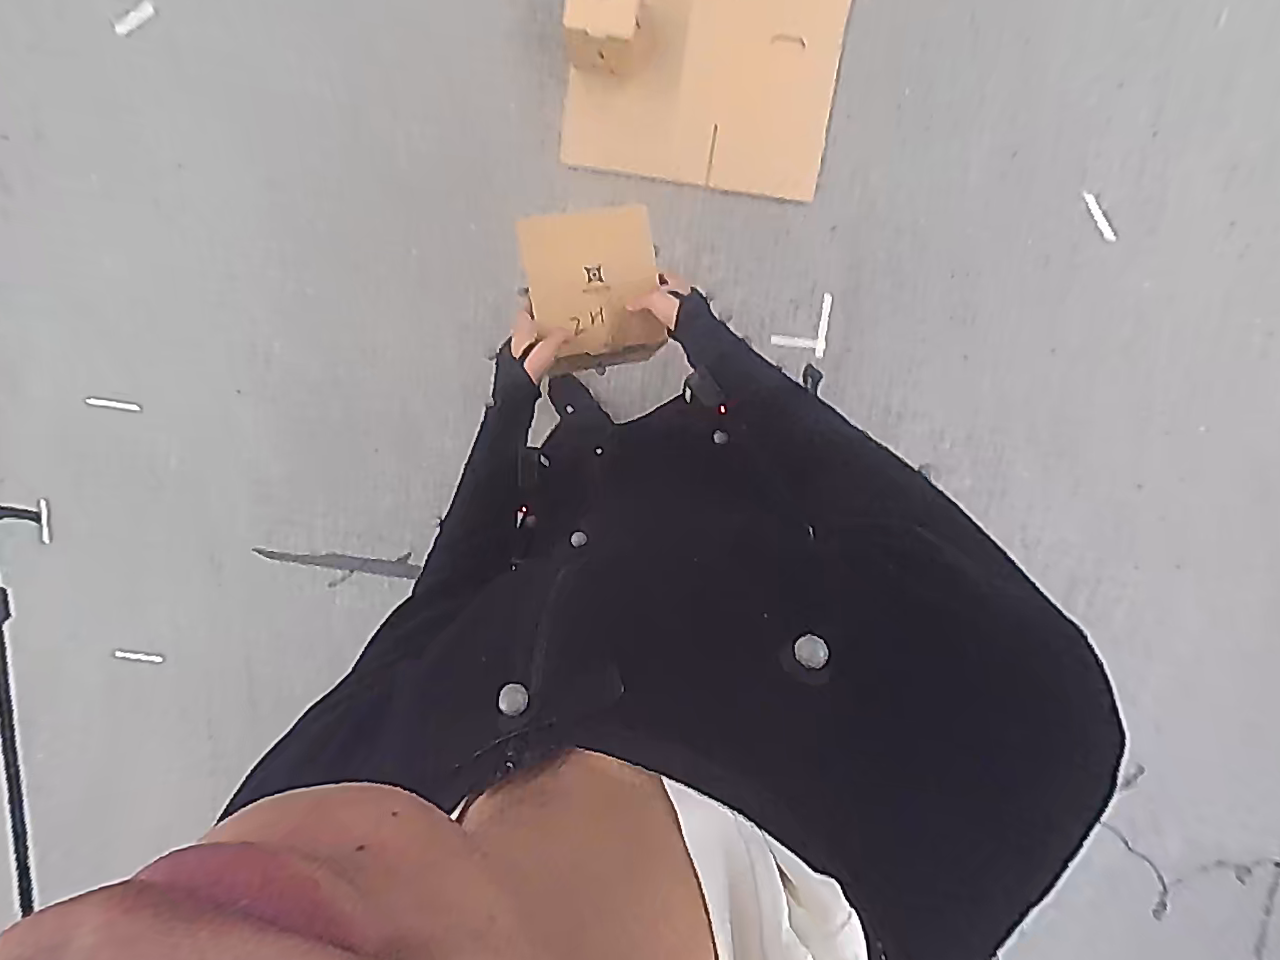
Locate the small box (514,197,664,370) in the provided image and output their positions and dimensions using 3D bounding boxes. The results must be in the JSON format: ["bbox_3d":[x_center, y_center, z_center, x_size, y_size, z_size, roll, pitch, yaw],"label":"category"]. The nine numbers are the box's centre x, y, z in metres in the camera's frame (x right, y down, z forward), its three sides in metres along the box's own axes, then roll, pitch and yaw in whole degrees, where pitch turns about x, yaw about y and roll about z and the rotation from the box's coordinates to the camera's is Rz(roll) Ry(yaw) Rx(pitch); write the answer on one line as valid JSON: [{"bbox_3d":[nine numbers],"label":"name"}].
[{"bbox_3d":[-0.073,-0.257,0.741,0.168,0.176,0.179,-10,96,-7],"label":"small box"}]

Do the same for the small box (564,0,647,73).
[{"bbox_3d":[-0.078,-1.122,1.296,0.168,0.176,0.179,10,102,-1],"label":"small box"}]
